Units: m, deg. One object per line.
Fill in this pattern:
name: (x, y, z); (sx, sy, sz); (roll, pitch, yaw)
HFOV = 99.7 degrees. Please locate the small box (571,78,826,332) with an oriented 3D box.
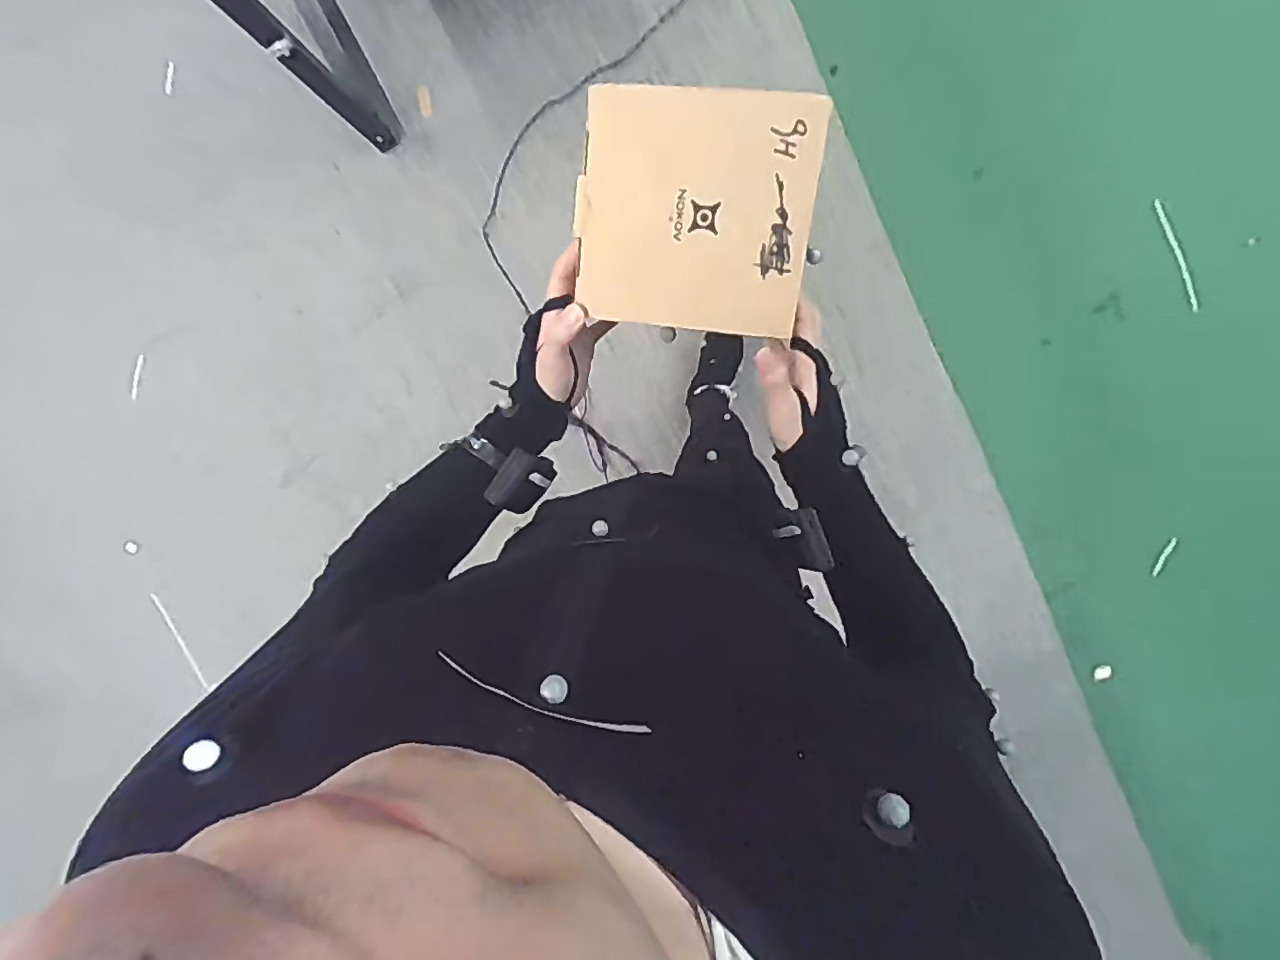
small box: (0.051, -0.225, 0.483); (0.179, 0.176, 0.168); (8, 106, 8)
